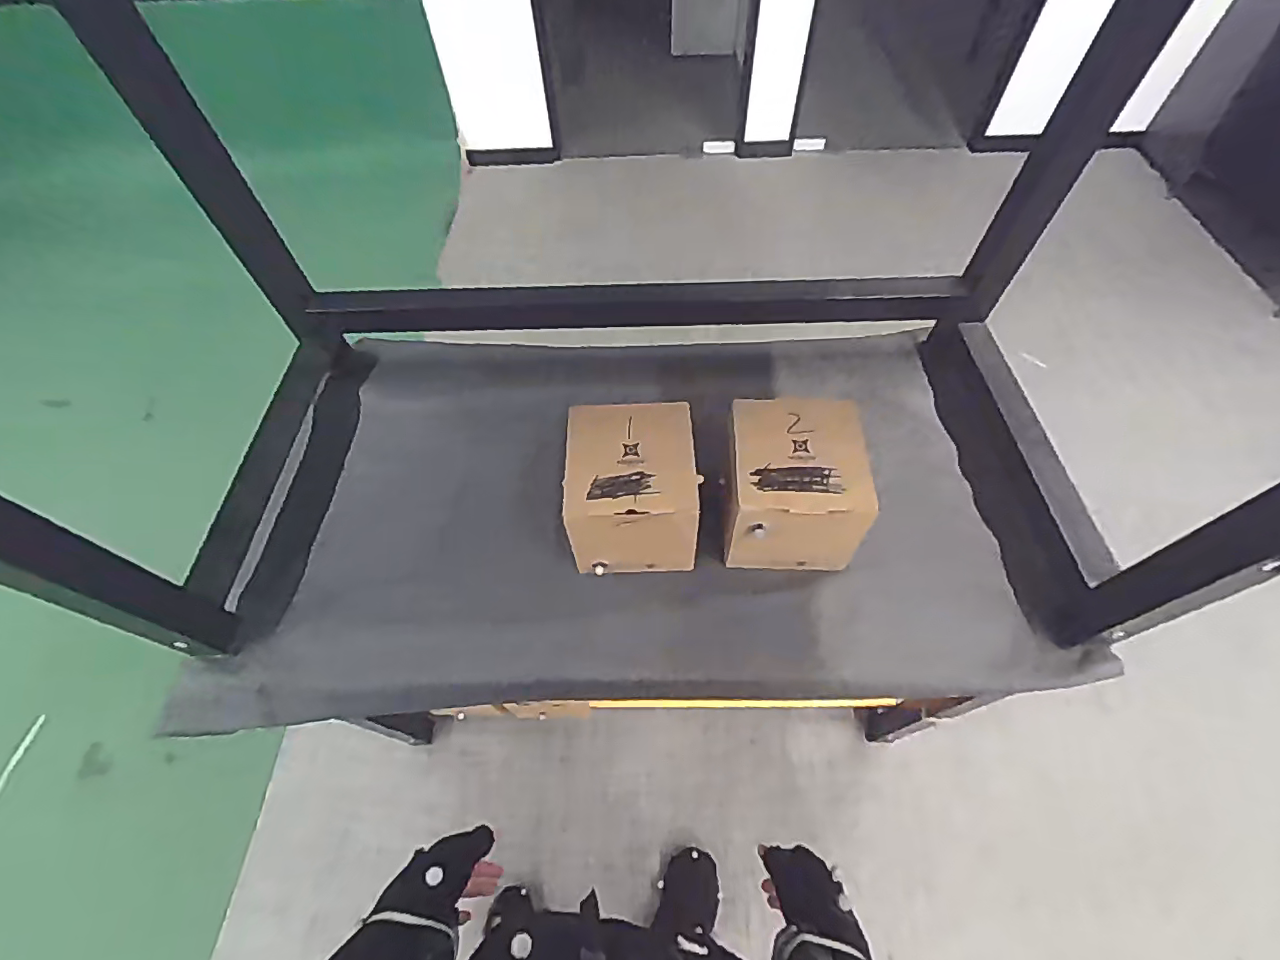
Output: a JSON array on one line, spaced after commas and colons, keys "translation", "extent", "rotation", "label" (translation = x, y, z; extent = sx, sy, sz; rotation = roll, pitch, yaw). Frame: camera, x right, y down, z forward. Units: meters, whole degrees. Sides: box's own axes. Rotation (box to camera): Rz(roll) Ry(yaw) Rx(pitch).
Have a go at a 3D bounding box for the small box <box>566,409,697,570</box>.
[{"translation": [-0.008, 0.020, 0.771], "extent": [0.168, 0.176, 0.179], "rotation": [-2, 55, 1], "label": "small box"}]
